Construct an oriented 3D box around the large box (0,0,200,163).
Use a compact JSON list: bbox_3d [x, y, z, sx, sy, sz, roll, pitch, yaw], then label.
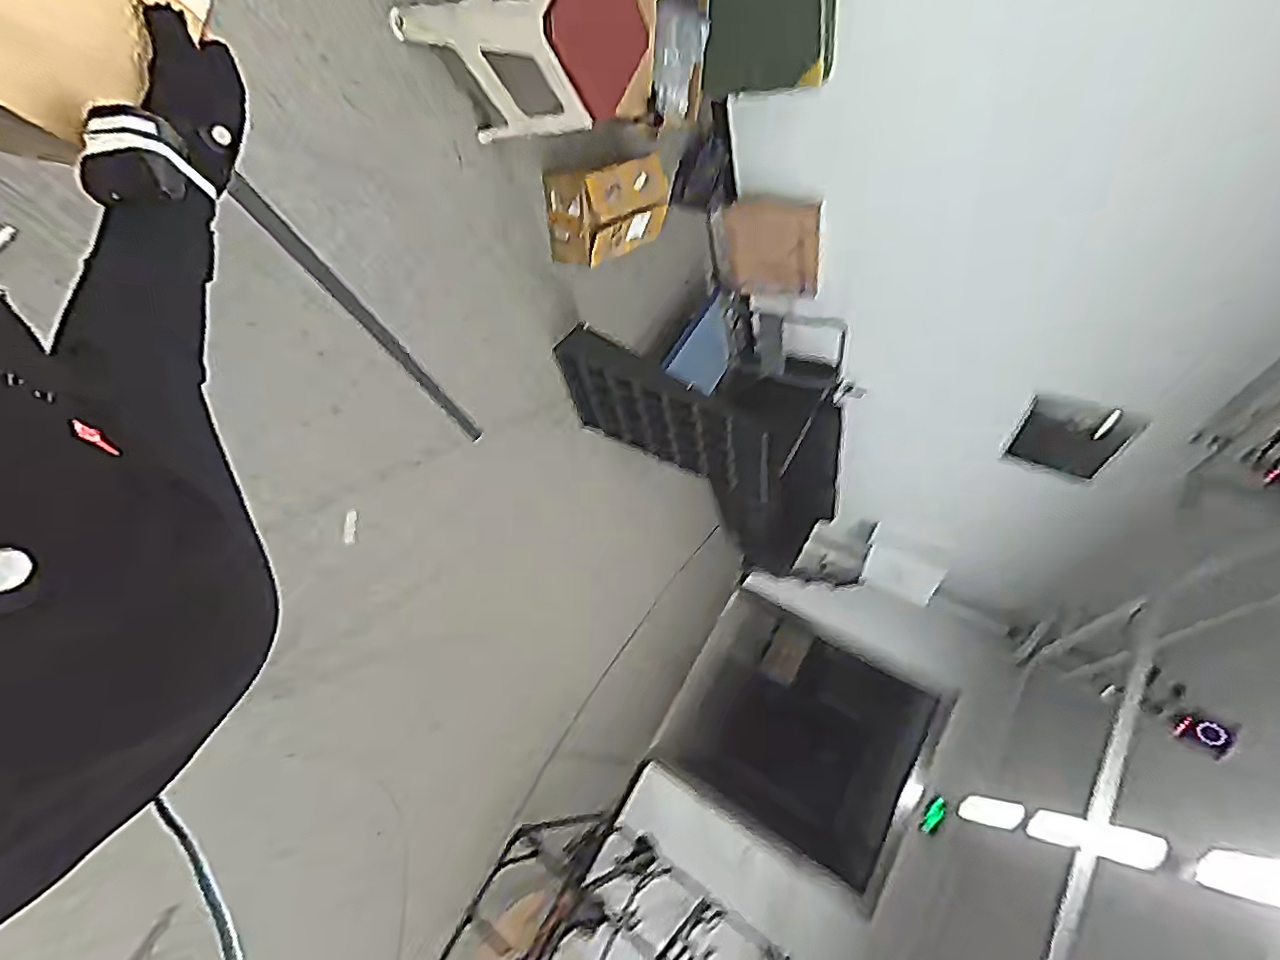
[{"bbox_3d":[-0.582,-0.487,0.344,0.320,0.320,0.408,-68,156,-2],"label":"large box"}]
